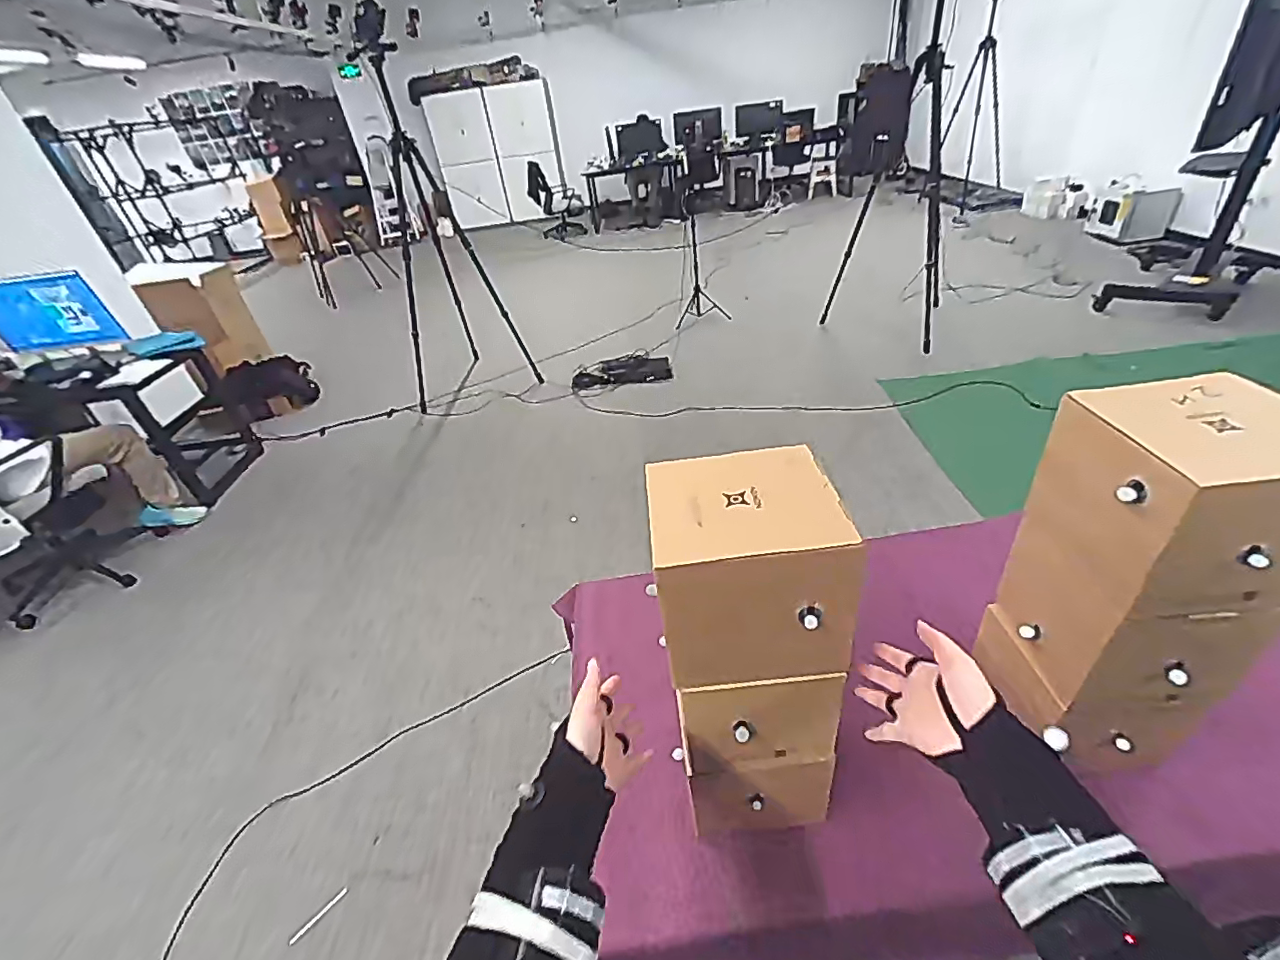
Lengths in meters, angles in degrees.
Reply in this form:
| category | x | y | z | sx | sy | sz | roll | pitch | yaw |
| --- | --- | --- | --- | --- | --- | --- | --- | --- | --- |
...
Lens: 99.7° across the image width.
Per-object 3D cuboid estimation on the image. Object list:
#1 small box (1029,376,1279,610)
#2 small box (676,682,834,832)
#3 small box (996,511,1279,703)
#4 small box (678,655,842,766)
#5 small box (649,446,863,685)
| category | x | y | z | sx | sy | sz | roll | pitch | yaw |
| --- | --- | --- | --- | --- | --- | --- | --- | --- | --- |
| small box | 0.543 | 0.016 | 0.548 | 0.168 | 0.176 | 0.179 | -6 | 35 | 5 |
| small box | 0.147 | 0.351 | 0.738 | 0.179 | 0.176 | 0.168 | -8 | 35 | 2 |
| small box | 0.567 | 0.149 | 0.645 | 0.168 | 0.176 | 0.179 | -5 | 36 | 6 |
| small box | 0.129 | 0.219 | 0.647 | 0.168 | 0.176 | 0.179 | -7 | 34 | 3 |
| small box | 0.106 | 0.086 | 0.554 | 0.179 | 0.176 | 0.168 | -7 | 33 | 4 |
